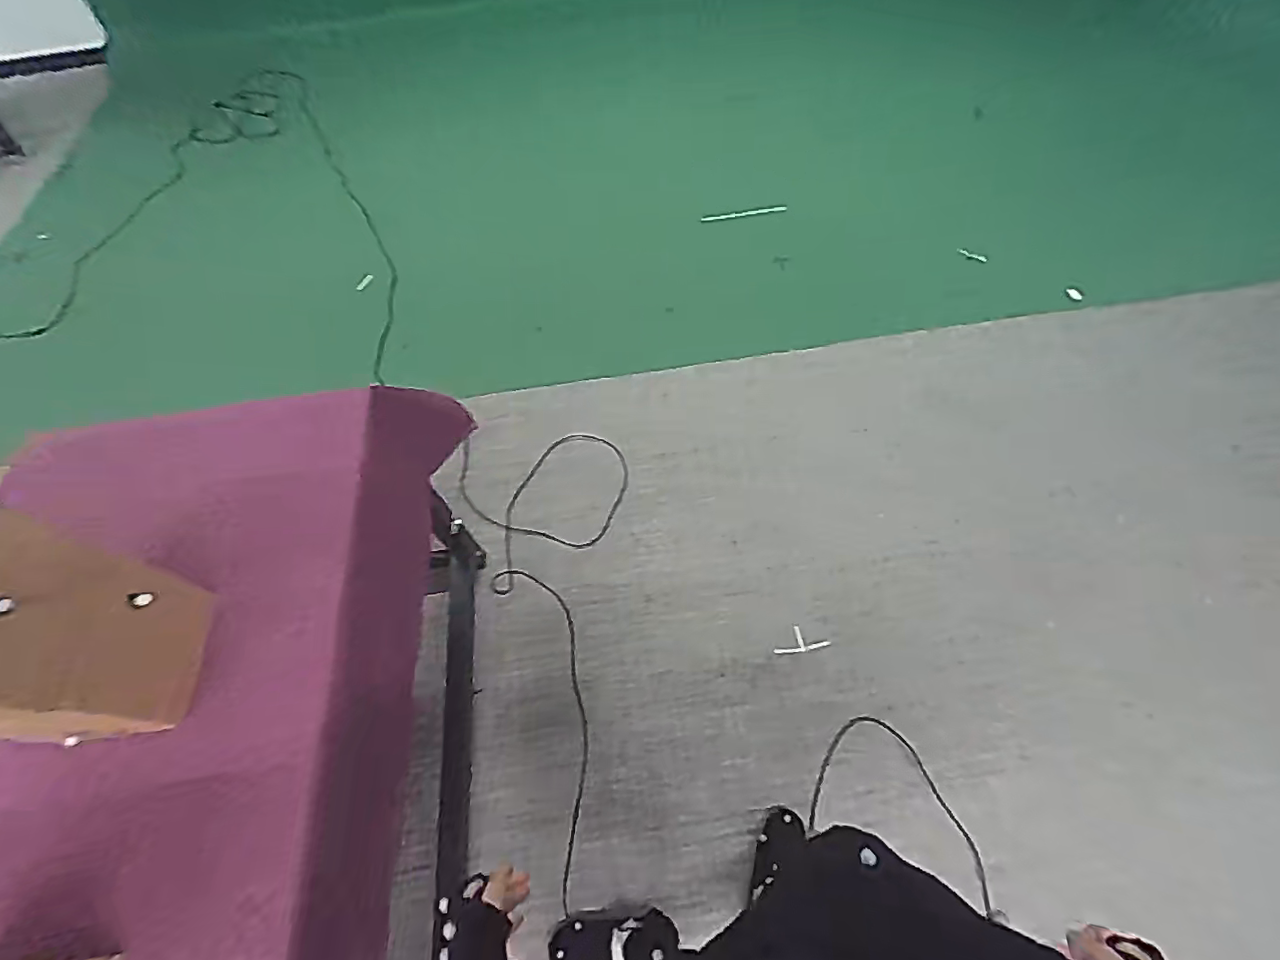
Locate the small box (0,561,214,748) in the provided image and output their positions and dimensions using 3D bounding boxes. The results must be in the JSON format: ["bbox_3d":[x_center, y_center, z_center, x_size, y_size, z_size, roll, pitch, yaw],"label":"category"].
[{"bbox_3d":[-0.677,0.219,0.664,0.168,0.176,0.179,-8,60,0],"label":"small box"}]
